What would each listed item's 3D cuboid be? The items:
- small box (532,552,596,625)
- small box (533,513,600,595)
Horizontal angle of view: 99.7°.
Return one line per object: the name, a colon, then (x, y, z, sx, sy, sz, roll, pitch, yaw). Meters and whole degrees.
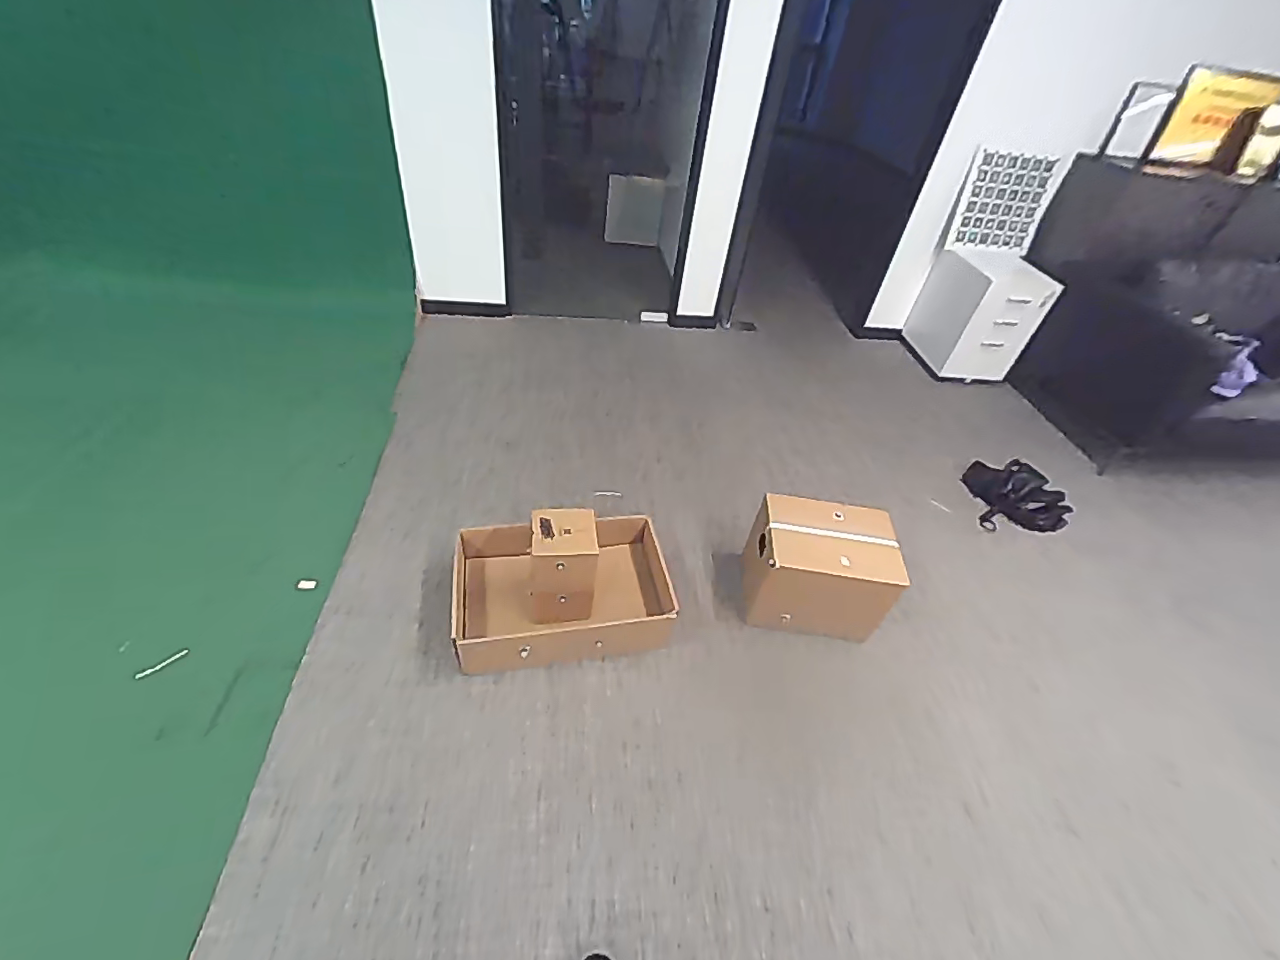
small box: (-0.233, 0.321, 1.629, 0.179, 0.176, 0.168, -2, 44, -14)
small box: (-0.209, 0.208, 1.510, 0.179, 0.176, 0.168, 0, 43, -12)
